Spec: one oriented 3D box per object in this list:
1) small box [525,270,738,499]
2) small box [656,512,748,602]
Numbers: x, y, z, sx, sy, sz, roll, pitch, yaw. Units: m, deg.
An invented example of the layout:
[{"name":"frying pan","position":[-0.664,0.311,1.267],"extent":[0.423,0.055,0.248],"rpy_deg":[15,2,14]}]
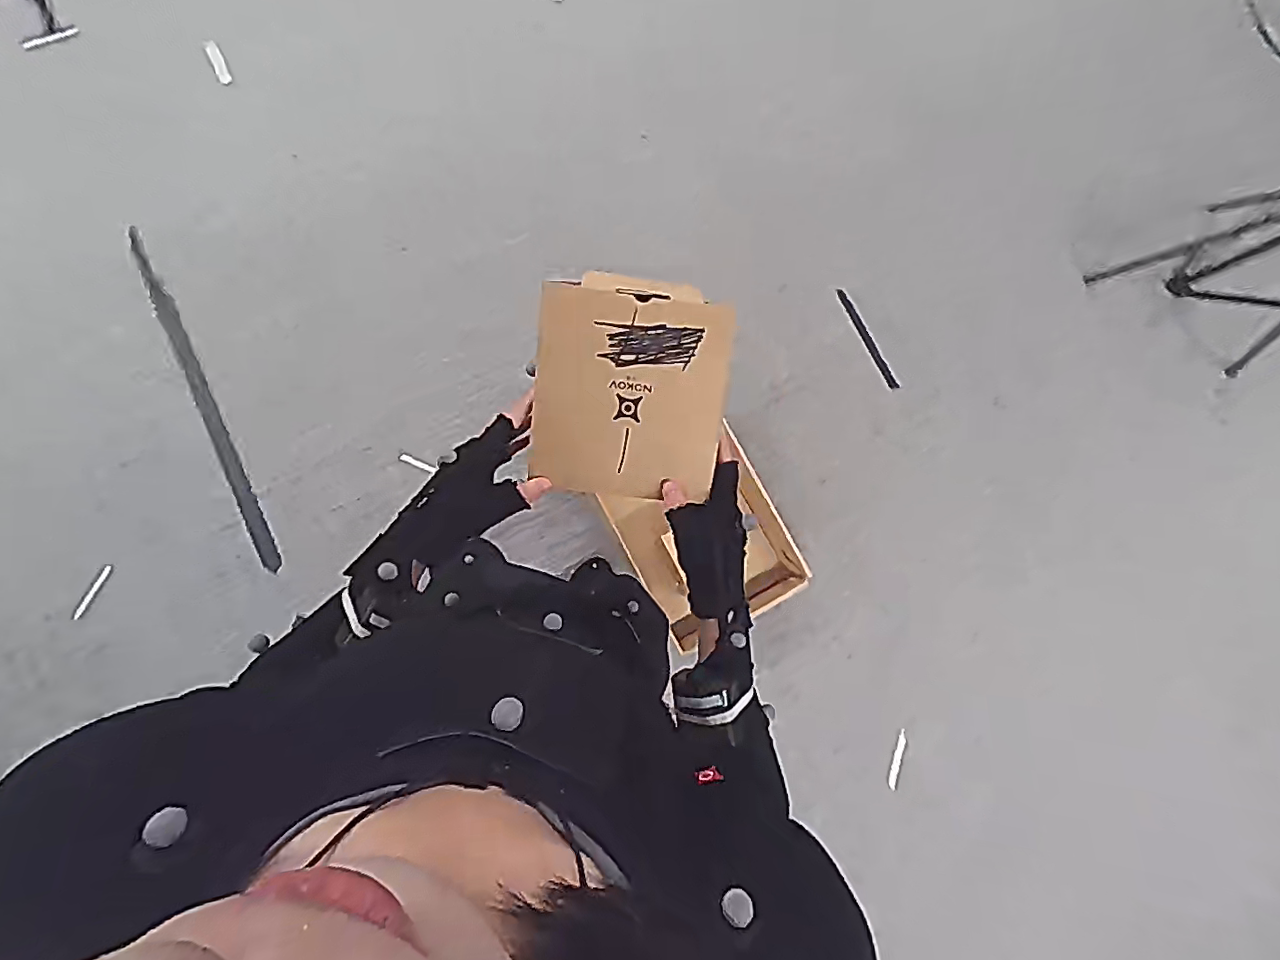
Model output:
[{"name":"small box","position":[-0.015,-0.092,0.535],"extent":[0.168,0.176,0.179],"rpy_deg":[6,102,-5]},{"name":"small box","position":[0.157,0.201,1.426],"extent":[0.168,0.176,0.179],"rpy_deg":[-27,84,-10]}]
